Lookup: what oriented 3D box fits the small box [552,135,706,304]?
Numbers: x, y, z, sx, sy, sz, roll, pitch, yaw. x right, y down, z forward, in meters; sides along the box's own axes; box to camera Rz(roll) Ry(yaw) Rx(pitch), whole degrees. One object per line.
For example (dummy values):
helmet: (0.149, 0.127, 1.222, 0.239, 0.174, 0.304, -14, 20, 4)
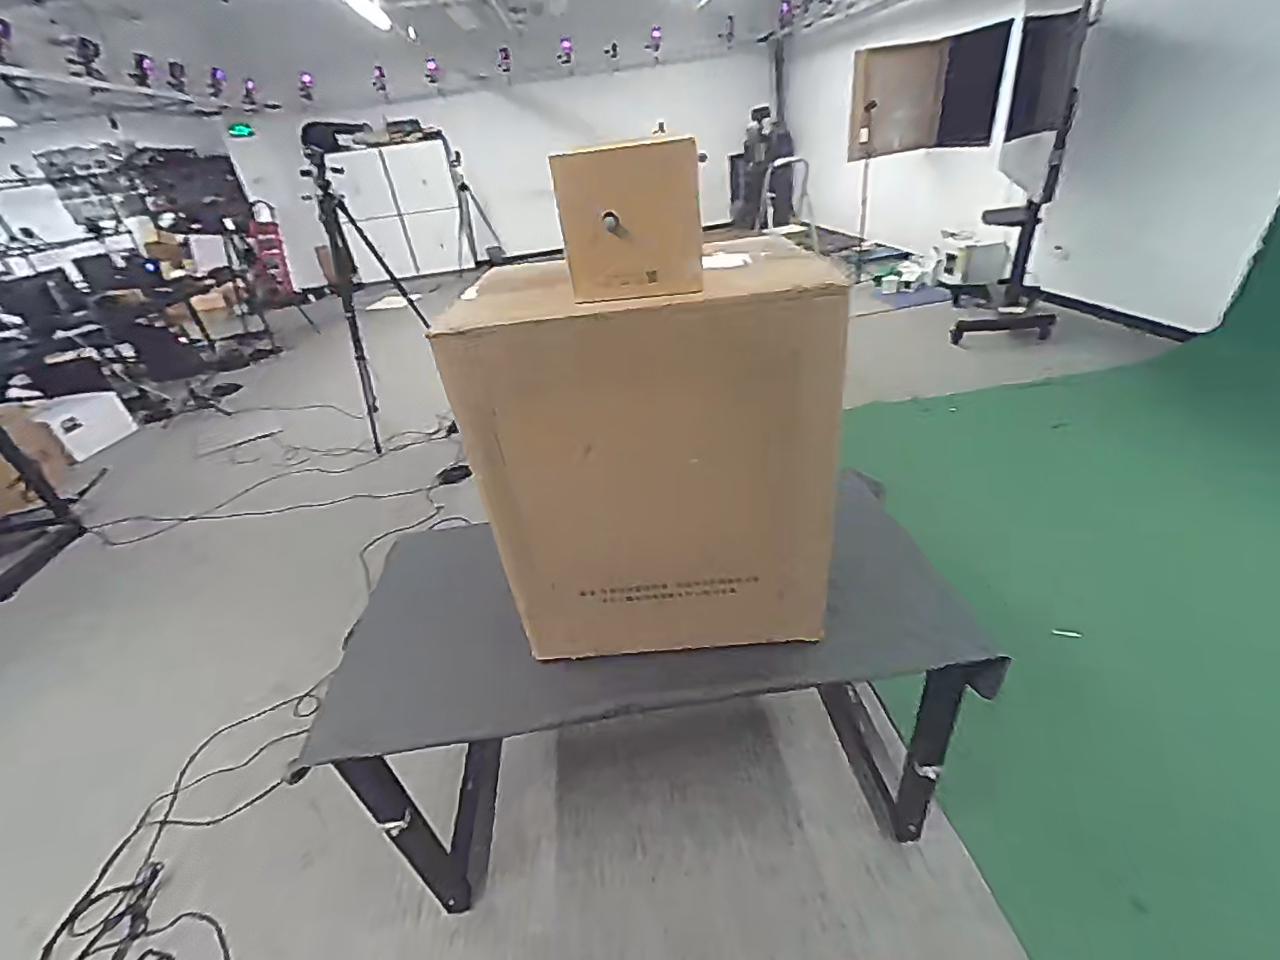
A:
small box: (-0.002, -0.333, 0.702, 0.168, 0.176, 0.179, -3, 34, 8)
